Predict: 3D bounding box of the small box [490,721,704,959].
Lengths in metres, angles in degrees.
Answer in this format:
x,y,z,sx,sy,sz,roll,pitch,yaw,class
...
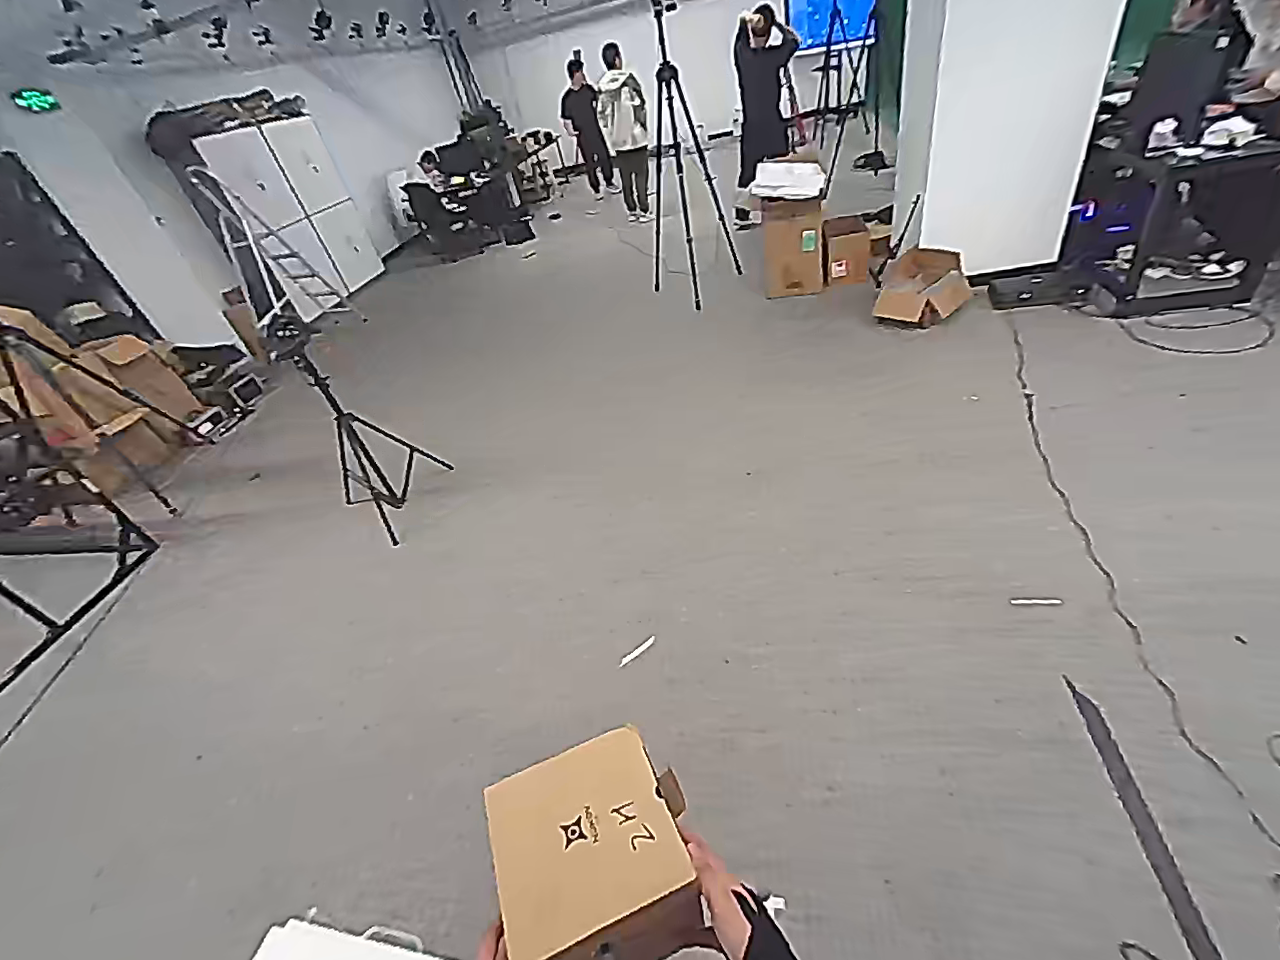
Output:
x,y,z,sx,sy,sz,roll,pitch,yaw,class
-0.043,0.403,0.576,0.179,0.176,0.168,-17,37,-13,small box
